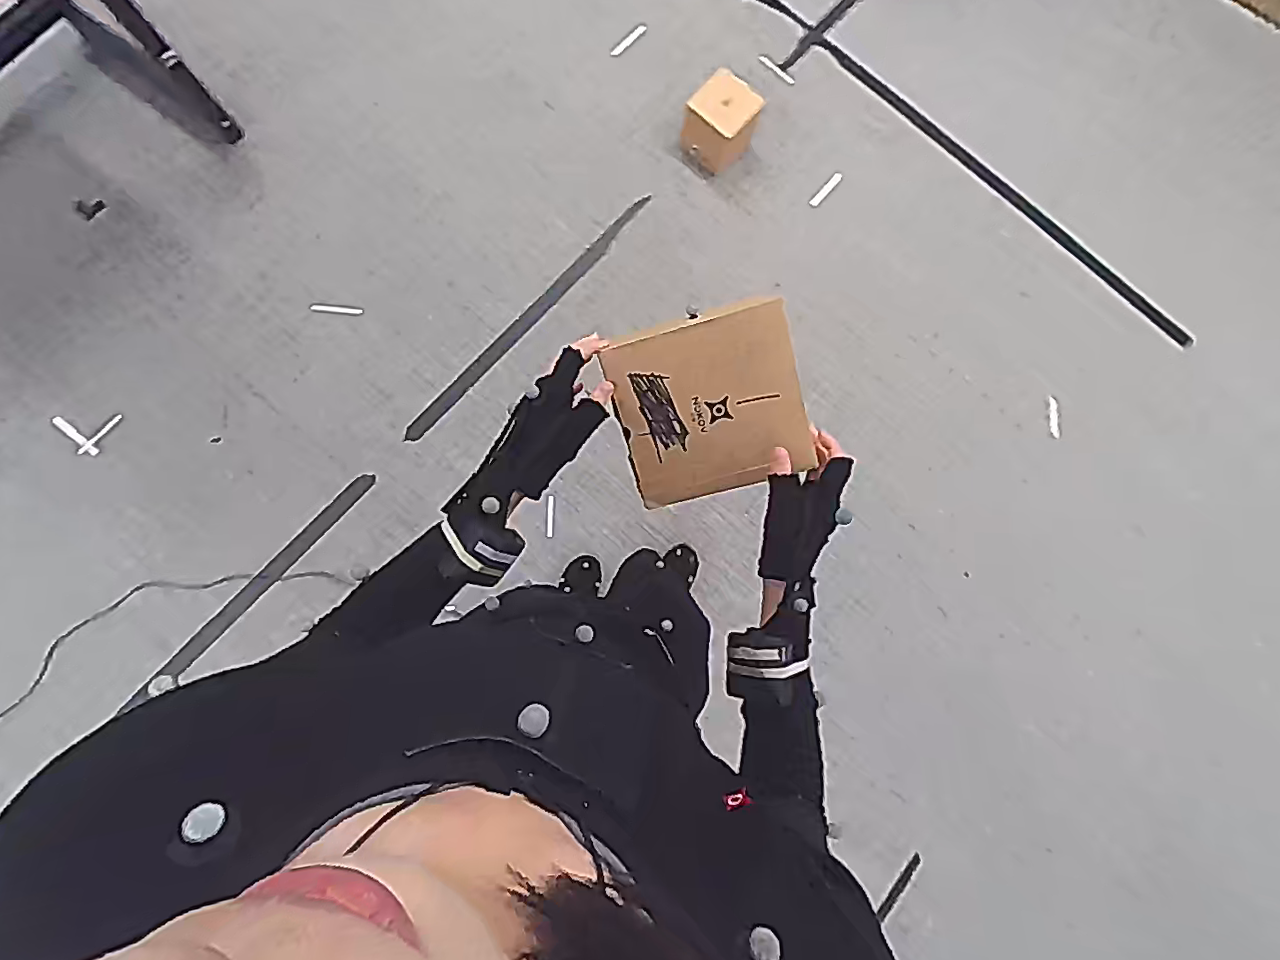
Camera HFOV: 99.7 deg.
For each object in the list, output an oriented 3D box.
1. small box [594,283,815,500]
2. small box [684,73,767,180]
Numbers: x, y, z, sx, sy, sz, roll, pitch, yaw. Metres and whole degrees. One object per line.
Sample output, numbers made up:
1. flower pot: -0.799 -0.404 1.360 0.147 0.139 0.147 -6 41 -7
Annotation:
1. small box: 0.067 -0.099 0.583 0.179 0.176 0.168 -17 106 8
2. small box: 0.251 -1.072 1.651 0.168 0.176 0.179 41 82 3
